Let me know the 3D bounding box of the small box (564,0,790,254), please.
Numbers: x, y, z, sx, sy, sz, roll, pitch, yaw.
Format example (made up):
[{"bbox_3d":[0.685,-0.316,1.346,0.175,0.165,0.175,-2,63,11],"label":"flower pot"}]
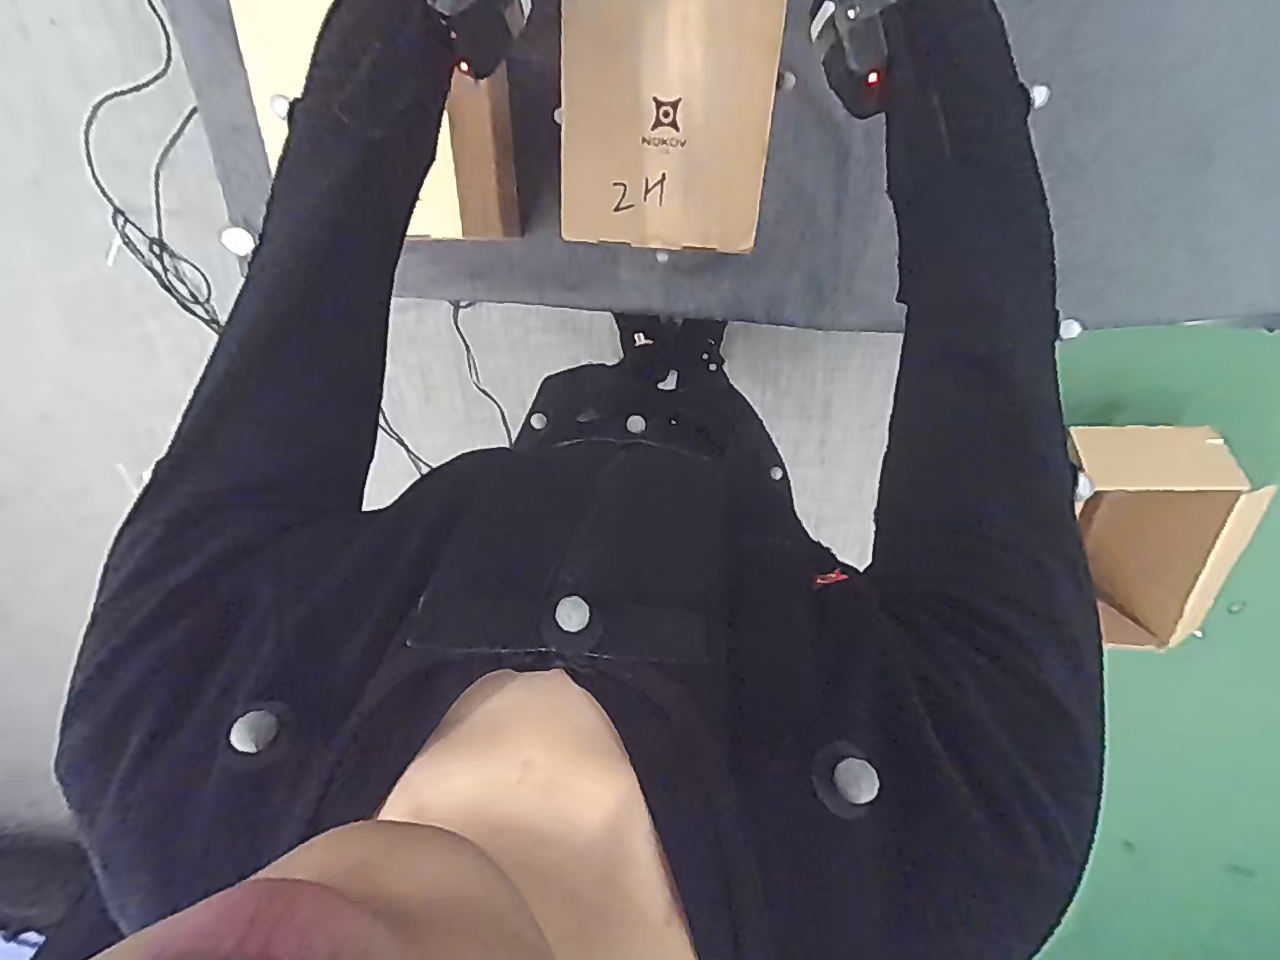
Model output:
[{"bbox_3d":[0.029,-0.311,0.497,0.168,0.176,0.179,6,116,4],"label":"small box"}]
